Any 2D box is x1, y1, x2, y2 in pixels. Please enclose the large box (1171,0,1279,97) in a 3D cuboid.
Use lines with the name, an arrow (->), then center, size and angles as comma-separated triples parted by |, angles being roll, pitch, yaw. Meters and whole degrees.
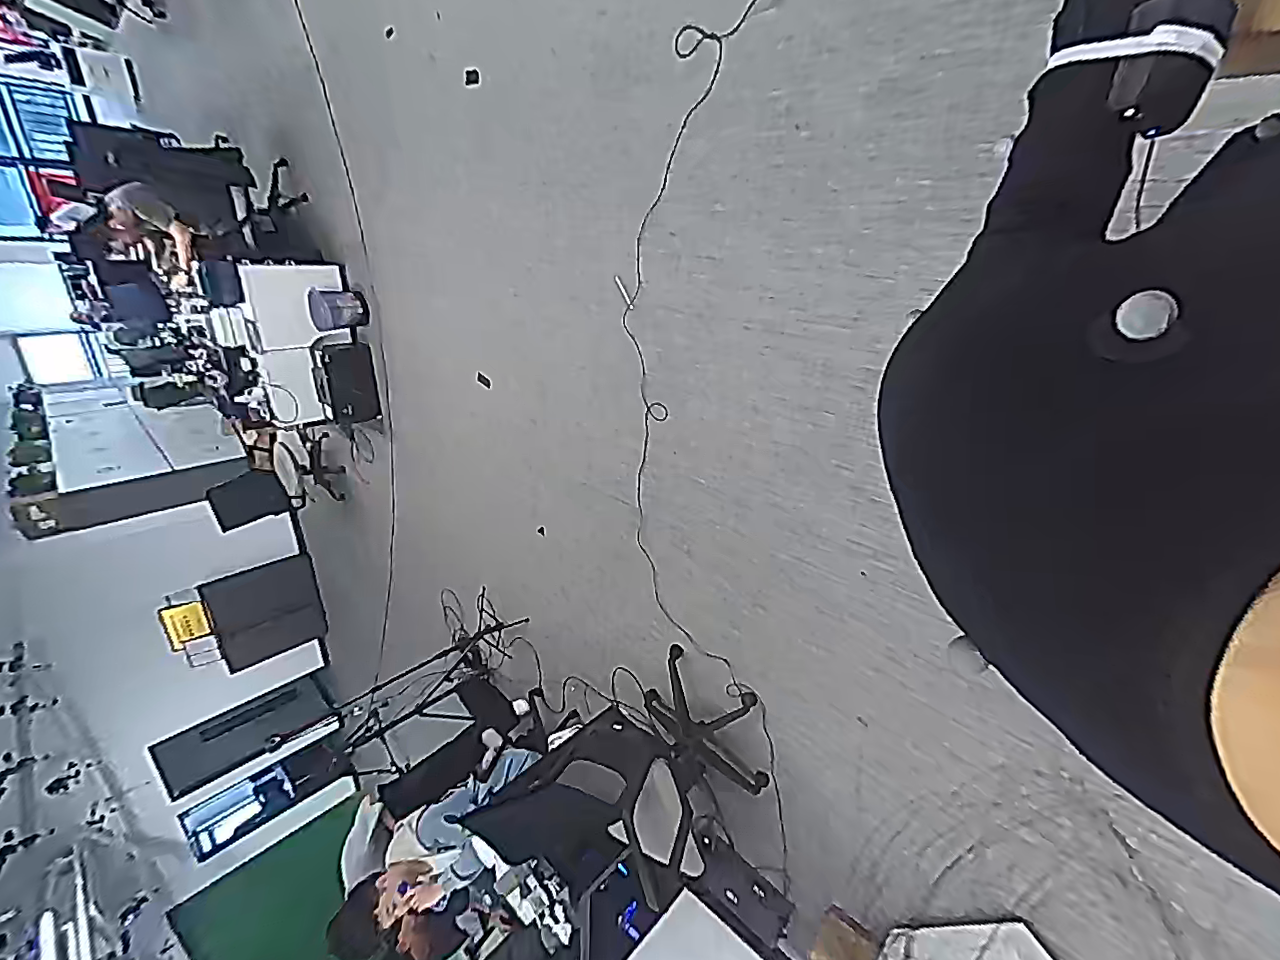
large box -> 0.598, -0.419, 0.273 | 0.408, 0.320, 0.320 | 22, 128, 38
